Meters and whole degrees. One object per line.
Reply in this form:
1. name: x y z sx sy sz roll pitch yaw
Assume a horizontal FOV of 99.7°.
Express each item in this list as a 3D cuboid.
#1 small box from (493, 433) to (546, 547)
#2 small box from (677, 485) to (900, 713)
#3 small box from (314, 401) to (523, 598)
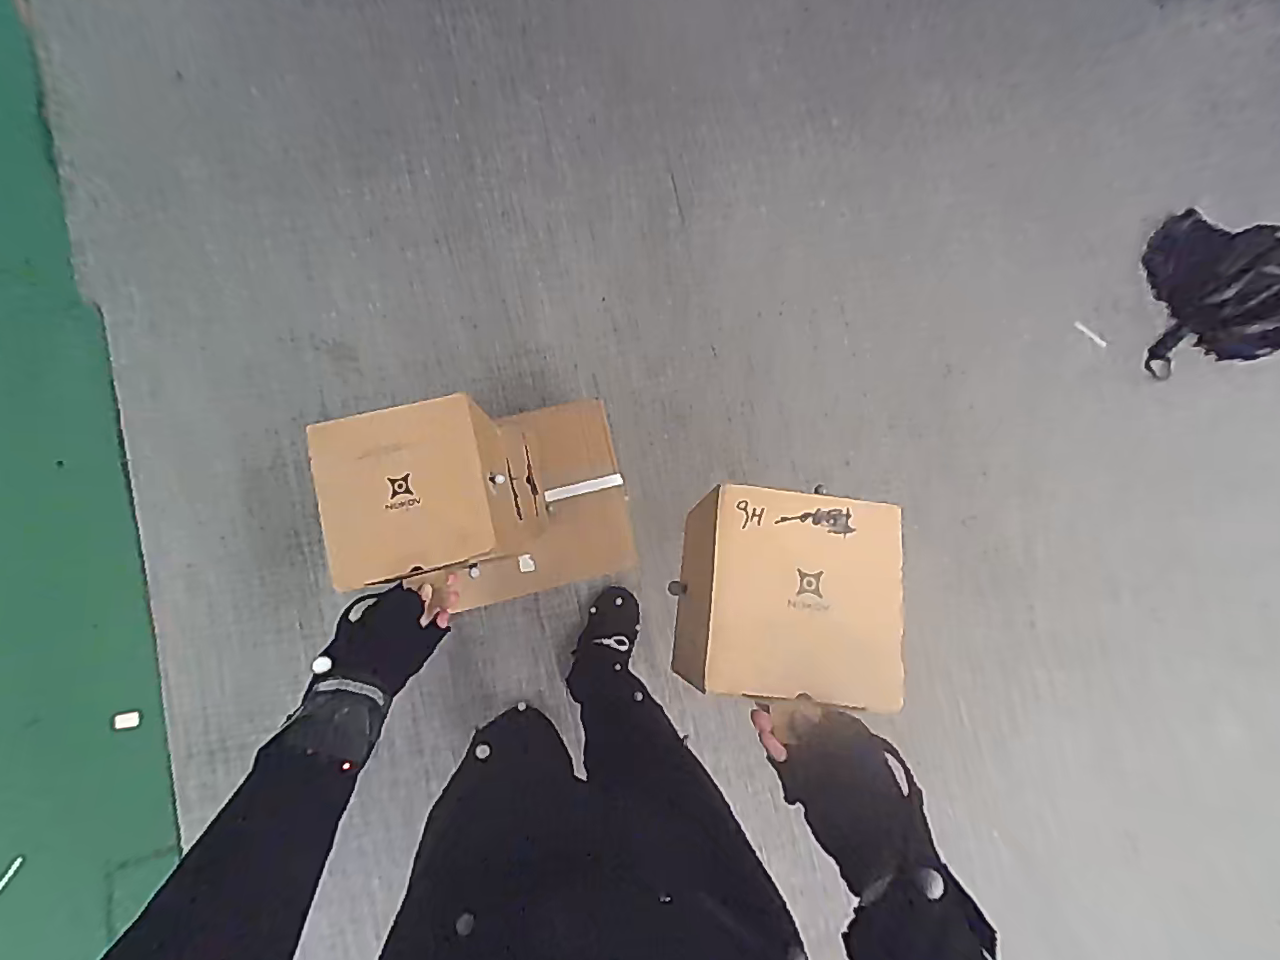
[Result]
1. small box: -0.243 0.021 0.841 0.179 0.176 0.168 -7 89 -6
2. small box: 0.134 0.116 0.538 0.168 0.176 0.179 7 76 -4
3. small box: -0.243 0.027 0.632 0.168 0.176 0.179 -13 83 -6
